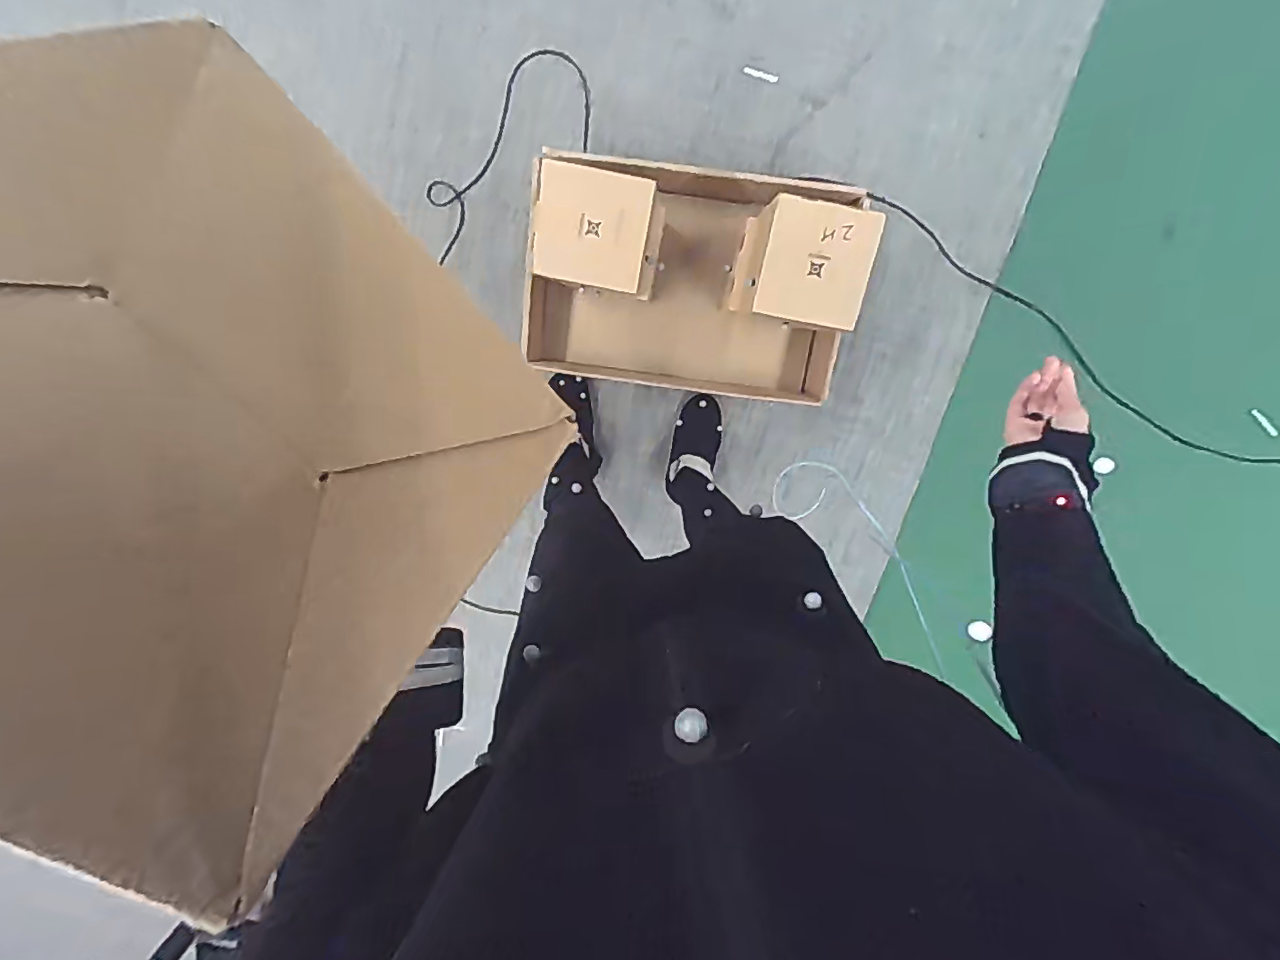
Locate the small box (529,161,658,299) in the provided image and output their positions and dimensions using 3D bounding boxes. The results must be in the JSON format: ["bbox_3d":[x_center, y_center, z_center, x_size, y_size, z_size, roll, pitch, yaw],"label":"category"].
[{"bbox_3d":[-0.071,-0.404,0.907,0.179,0.176,0.168,12,106,-2],"label":"small box"}]

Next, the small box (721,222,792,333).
[{"bbox_3d":[0.265,-0.389,1.067,0.179,0.176,0.168,12,105,0],"label":"small box"}]

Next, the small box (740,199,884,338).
[{"bbox_3d":[0.273,-0.342,0.908,0.168,0.176,0.179,12,104,-2],"label":"small box"}]
